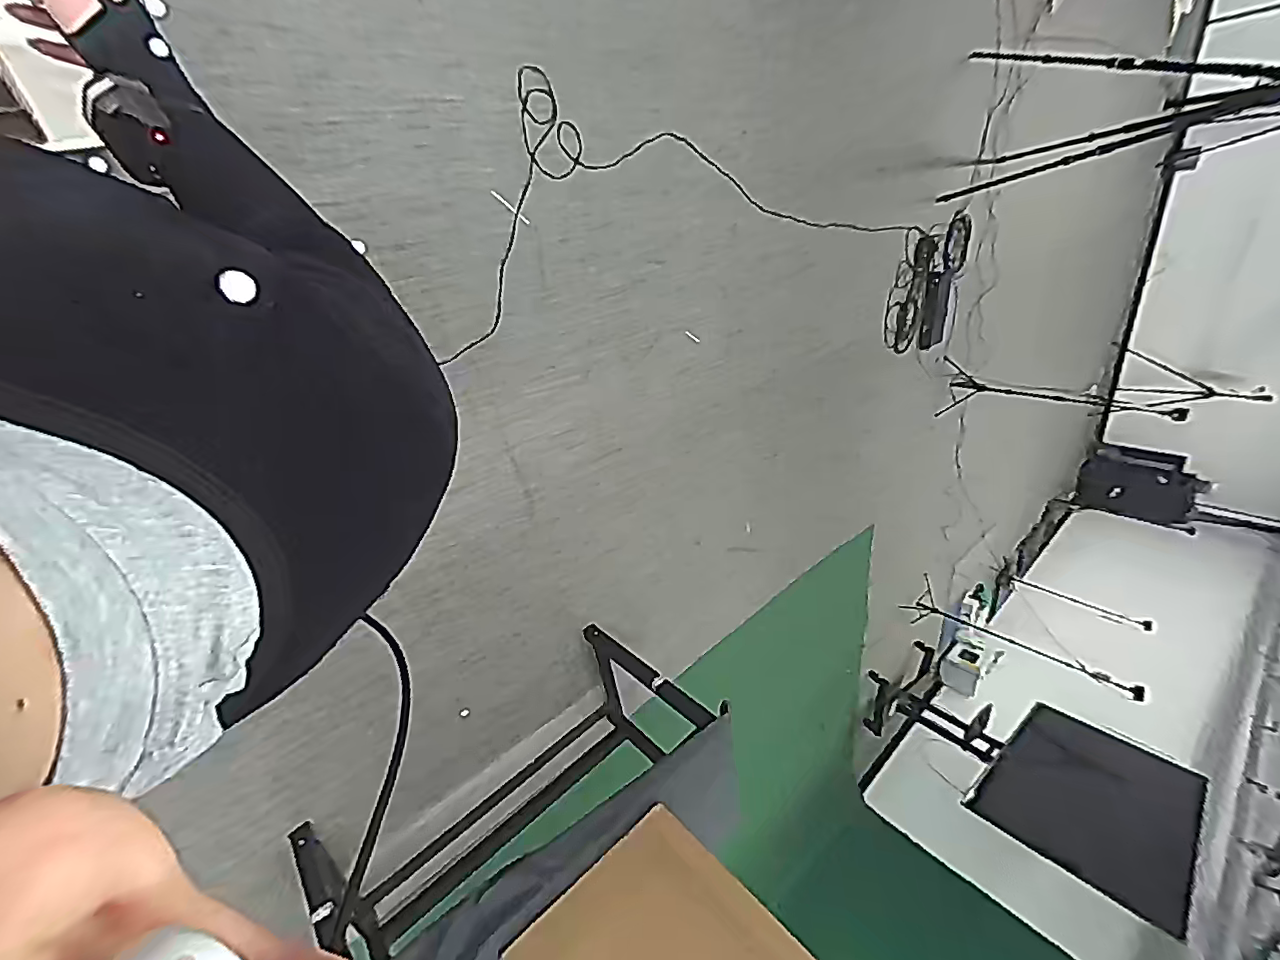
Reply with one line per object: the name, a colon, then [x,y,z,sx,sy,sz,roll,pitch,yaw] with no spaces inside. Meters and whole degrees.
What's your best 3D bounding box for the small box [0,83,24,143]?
small box: [-0.706,-0.404,0.472,0.168,0.176,0.179,-30,122,-33]
